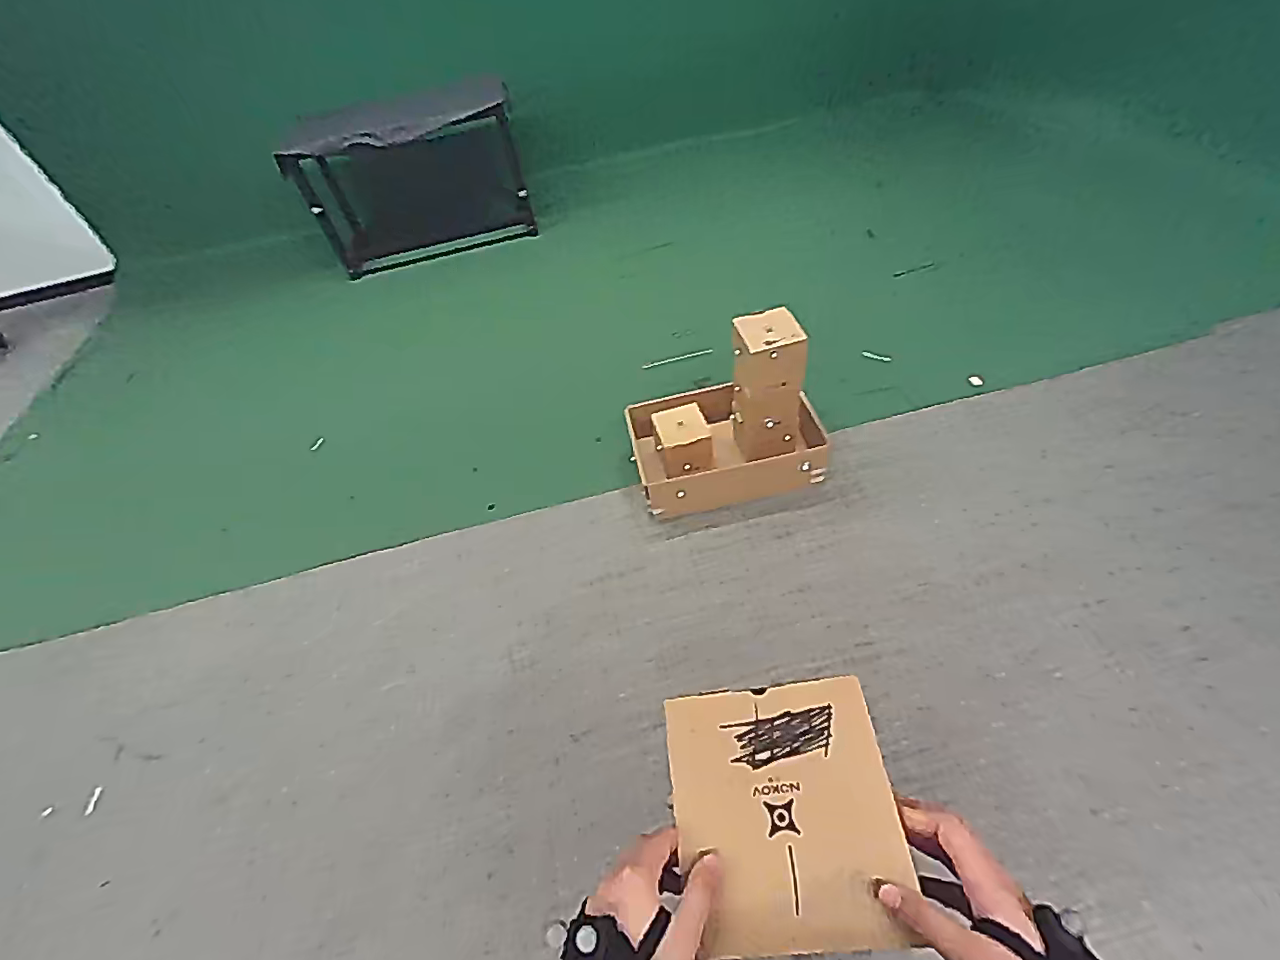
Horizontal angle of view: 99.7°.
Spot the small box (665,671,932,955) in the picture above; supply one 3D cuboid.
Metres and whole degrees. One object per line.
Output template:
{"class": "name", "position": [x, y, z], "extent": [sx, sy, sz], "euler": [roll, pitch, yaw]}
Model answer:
{"class": "small box", "position": [0.120, 0.283, 0.467], "extent": [0.168, 0.176, 0.179], "euler": [-10, 55, 8]}

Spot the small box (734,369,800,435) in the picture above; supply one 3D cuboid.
{"class": "small box", "position": [0.399, -0.272, 1.738], "extent": [0.168, 0.176, 0.179], "euler": [-13, 50, 1]}

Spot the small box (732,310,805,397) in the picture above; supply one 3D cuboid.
{"class": "small box", "position": [0.377, -0.376, 1.613], "extent": [0.168, 0.176, 0.179], "euler": [-15, 48, -1]}

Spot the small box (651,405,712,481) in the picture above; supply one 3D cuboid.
{"class": "small box", "position": [0.142, -0.126, 1.876], "extent": [0.168, 0.176, 0.179], "euler": [-16, 50, -5]}
